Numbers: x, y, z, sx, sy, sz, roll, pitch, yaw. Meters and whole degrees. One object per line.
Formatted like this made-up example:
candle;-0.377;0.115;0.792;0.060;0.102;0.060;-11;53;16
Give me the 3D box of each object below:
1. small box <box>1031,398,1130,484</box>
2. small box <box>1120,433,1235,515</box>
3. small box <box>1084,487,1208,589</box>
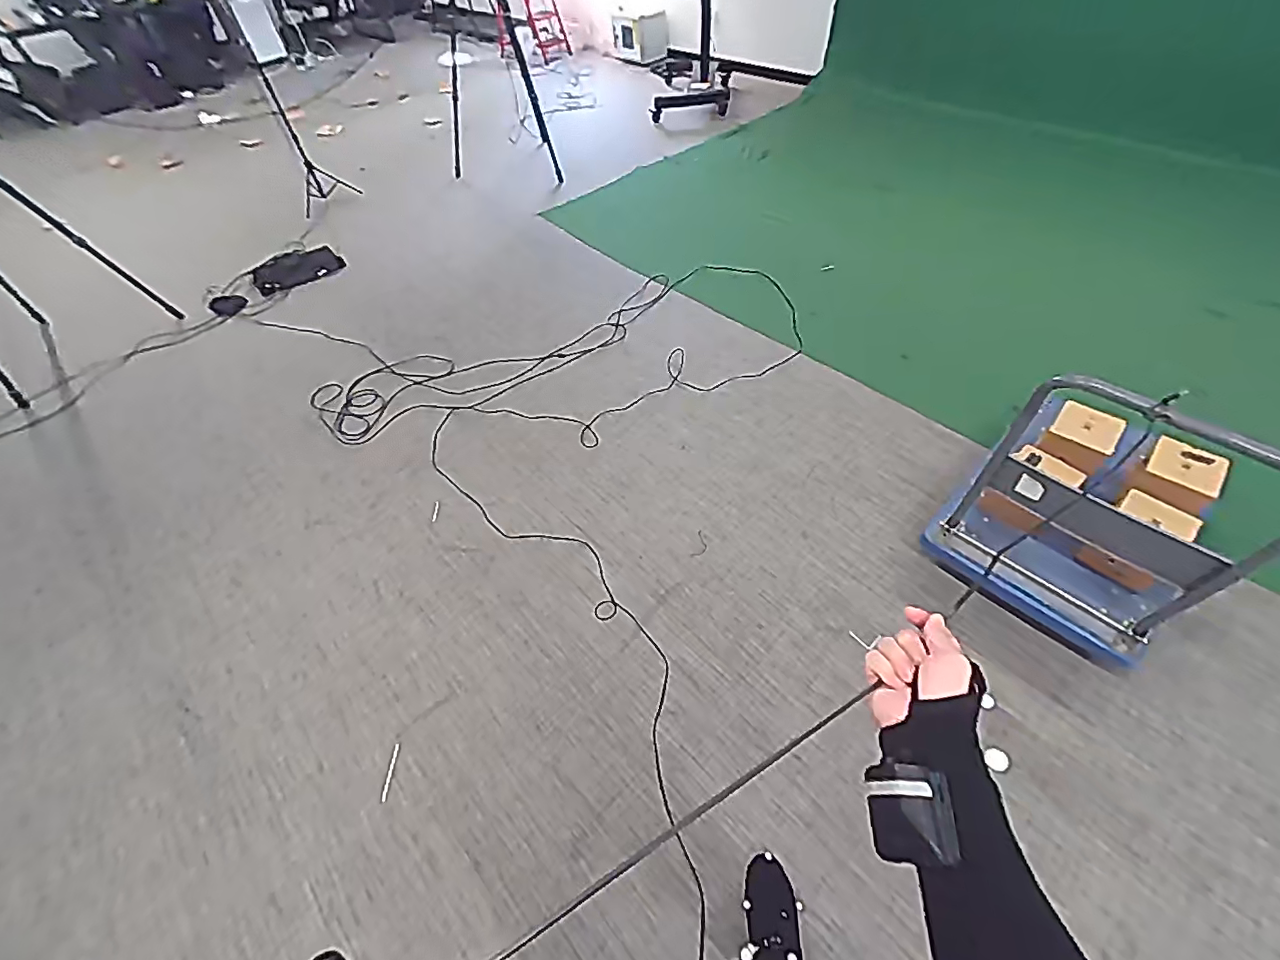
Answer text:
small box;1.371;-0.118;1.694;0.168;0.176;0.179;34;61;27
small box;1.558;0.002;1.576;0.168;0.176;0.179;33;62;29
small box;1.365;0.159;1.471;0.179;0.176;0.168;-39;57;-22
